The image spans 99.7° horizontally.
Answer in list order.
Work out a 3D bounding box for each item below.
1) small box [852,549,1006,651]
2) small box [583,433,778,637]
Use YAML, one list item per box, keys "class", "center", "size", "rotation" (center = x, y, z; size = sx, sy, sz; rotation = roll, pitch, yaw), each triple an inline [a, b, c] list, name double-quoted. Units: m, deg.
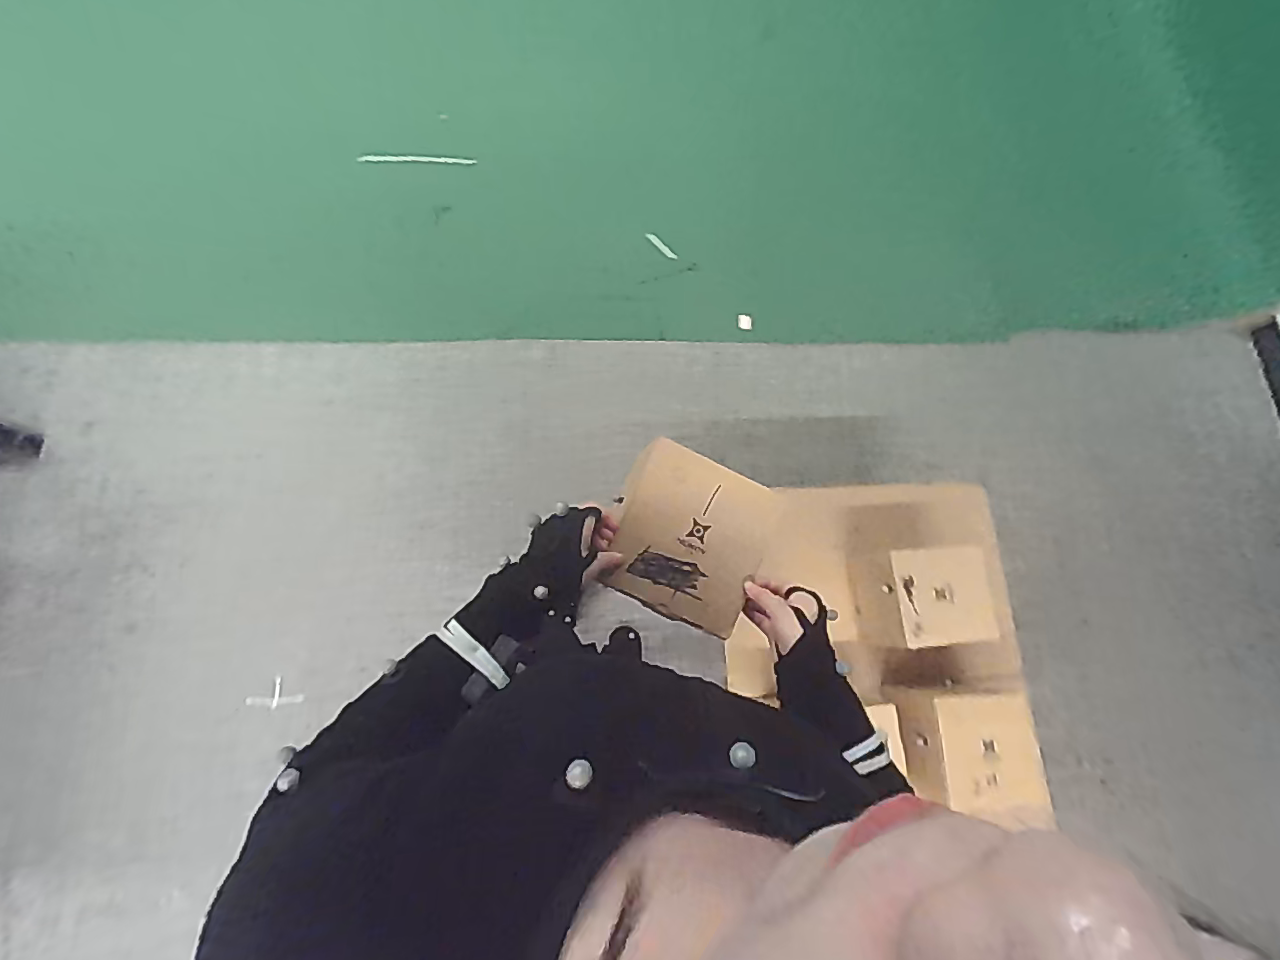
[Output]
- class: "small box"
  center: [0.522, 0.221, 0.999]
  size: [0.179, 0.176, 0.168]
  rotation: [-2, 75, -7]
- class: "small box"
  center: [0.038, 0.066, 0.668]
  size: [0.168, 0.176, 0.179]
  rotation: [25, 82, -6]
